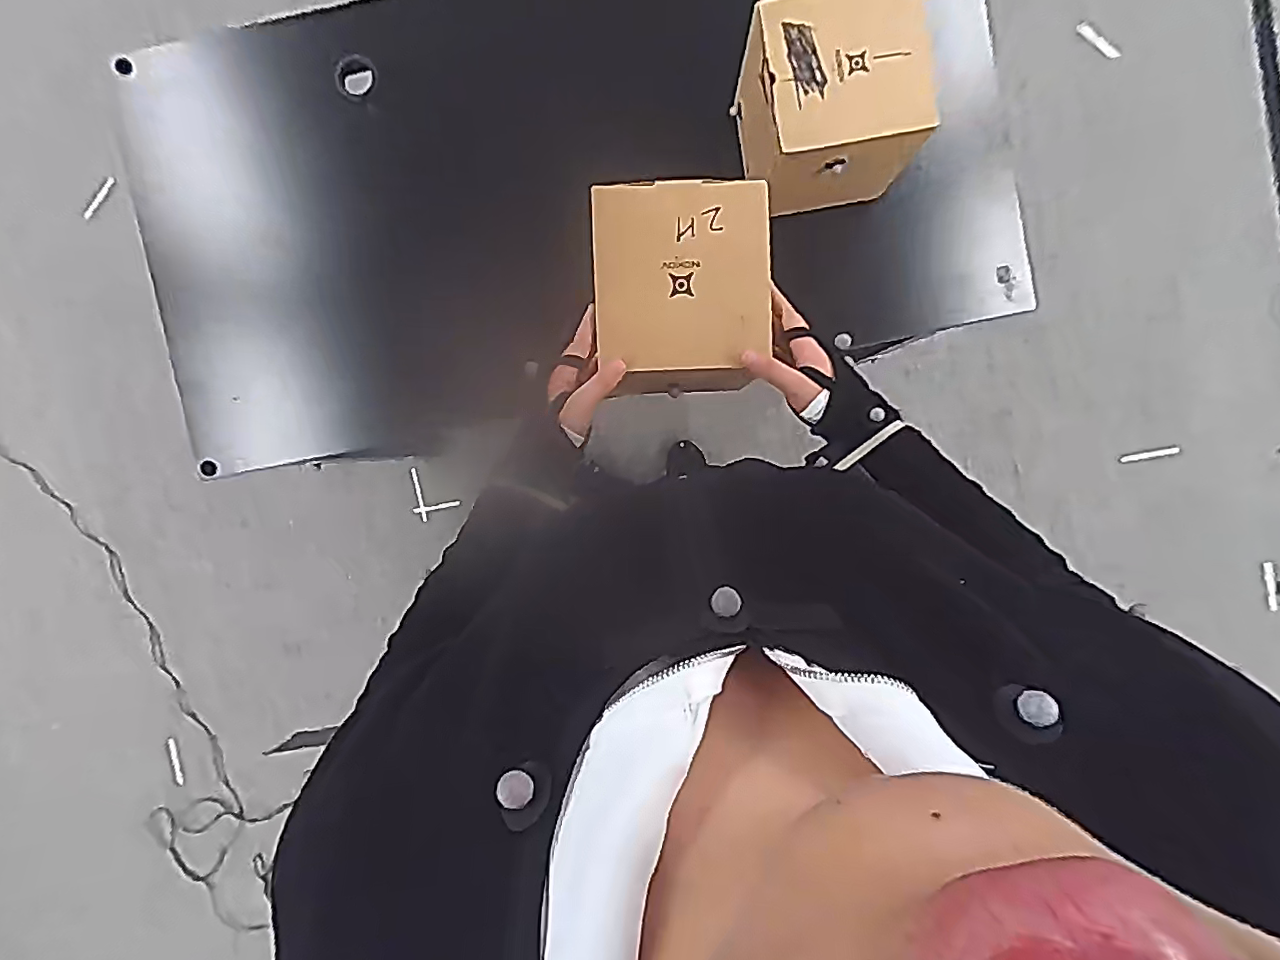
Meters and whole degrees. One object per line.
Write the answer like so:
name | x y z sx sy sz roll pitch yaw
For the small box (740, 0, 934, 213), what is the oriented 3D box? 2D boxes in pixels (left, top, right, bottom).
small box | 0.226 -0.454 0.668 0.179 0.176 0.168 -9 93 2

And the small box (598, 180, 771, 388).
small box | 0.043 -0.197 0.591 0.168 0.176 0.179 -1 90 -1
